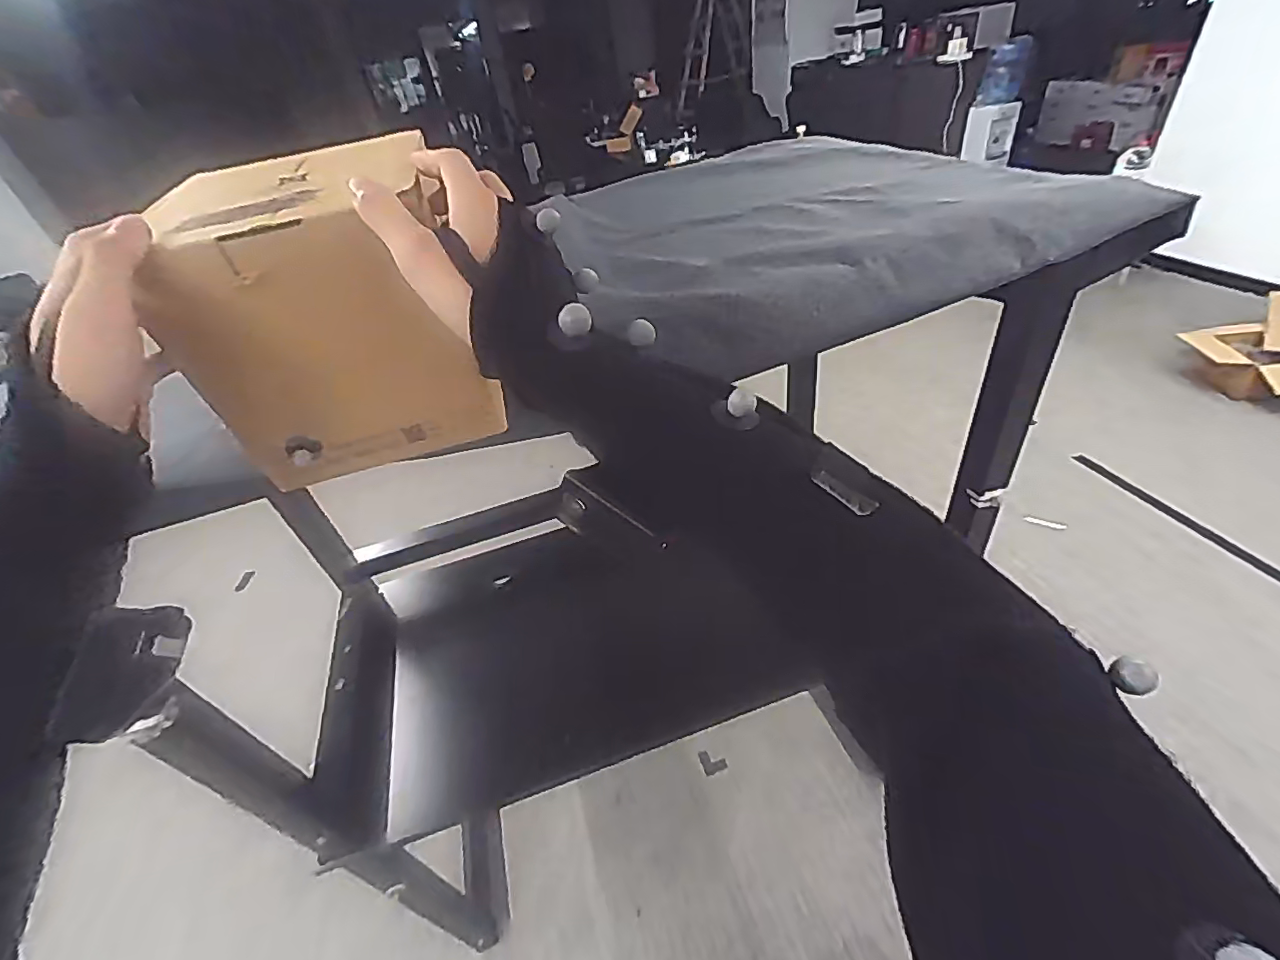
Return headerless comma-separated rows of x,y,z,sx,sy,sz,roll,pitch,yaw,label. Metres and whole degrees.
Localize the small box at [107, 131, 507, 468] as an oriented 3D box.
-0.205,-0.127,0.397,0.168,0.176,0.179,-16,43,-6,small box
